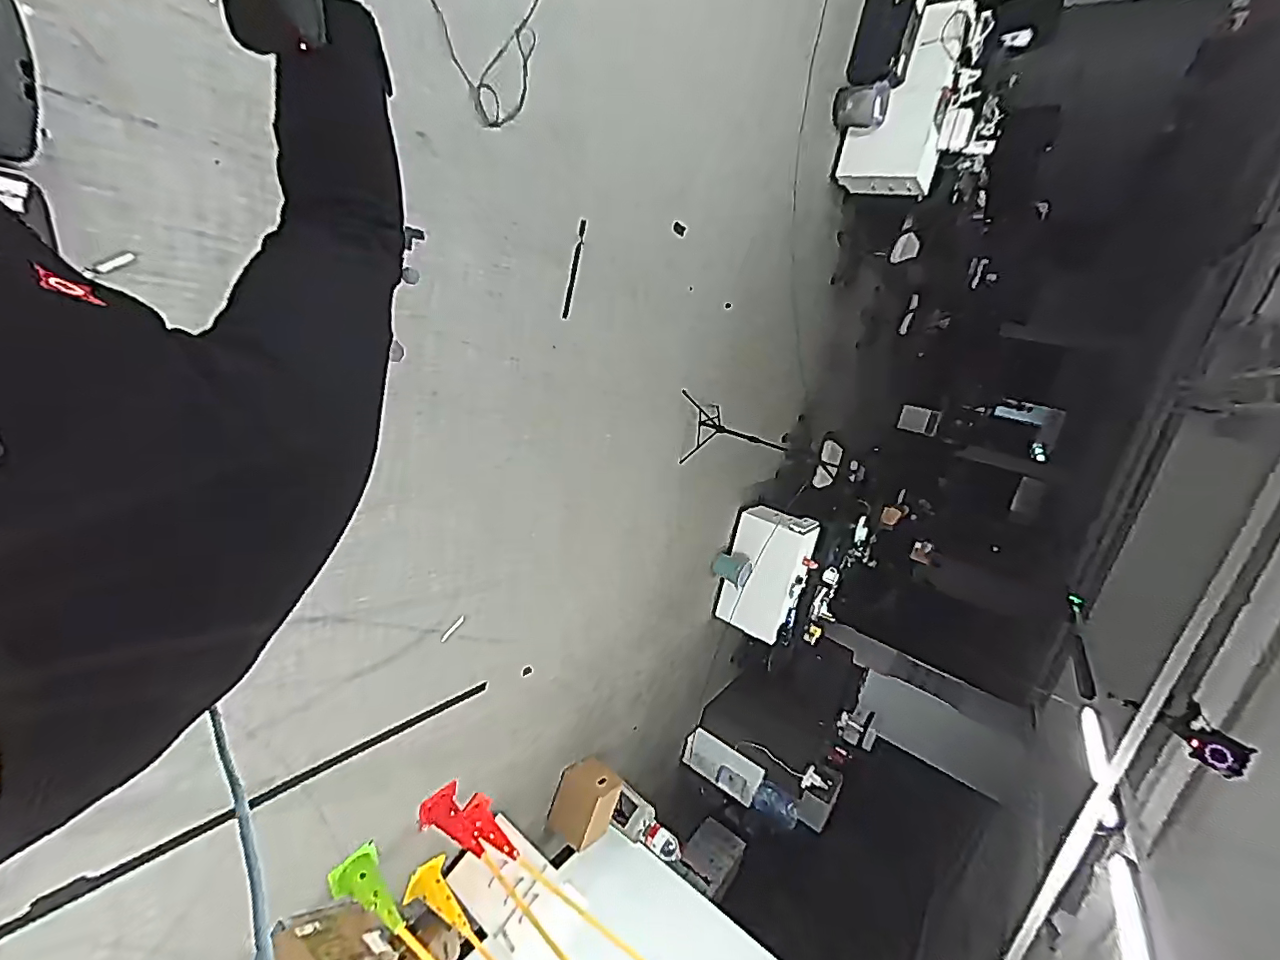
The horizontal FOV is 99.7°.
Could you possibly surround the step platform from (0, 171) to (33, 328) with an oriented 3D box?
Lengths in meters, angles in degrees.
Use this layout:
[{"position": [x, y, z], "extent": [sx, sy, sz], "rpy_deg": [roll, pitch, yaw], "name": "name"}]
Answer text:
[{"position": [-1.368, -0.392, 0.762], "extent": [0.684, 0.204, 0.286], "rpy_deg": [-12, 118, -52], "name": "step platform"}]
